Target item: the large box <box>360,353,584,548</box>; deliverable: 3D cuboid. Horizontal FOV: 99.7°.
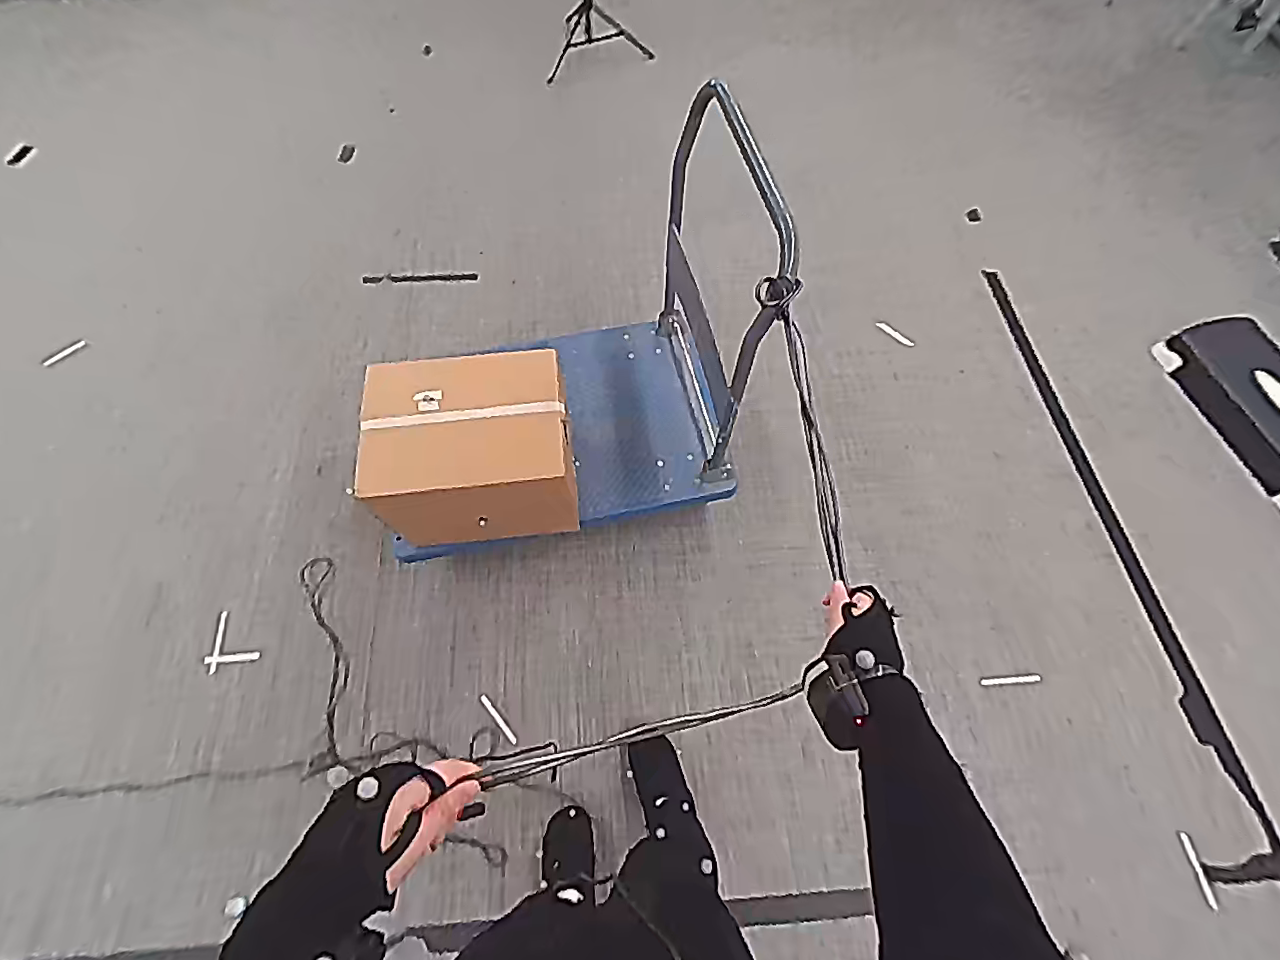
[{"bbox_3d":[-0.352,-0.053,1.228,0.408,0.320,0.320,-6,64,-3],"label":"large box"}]
